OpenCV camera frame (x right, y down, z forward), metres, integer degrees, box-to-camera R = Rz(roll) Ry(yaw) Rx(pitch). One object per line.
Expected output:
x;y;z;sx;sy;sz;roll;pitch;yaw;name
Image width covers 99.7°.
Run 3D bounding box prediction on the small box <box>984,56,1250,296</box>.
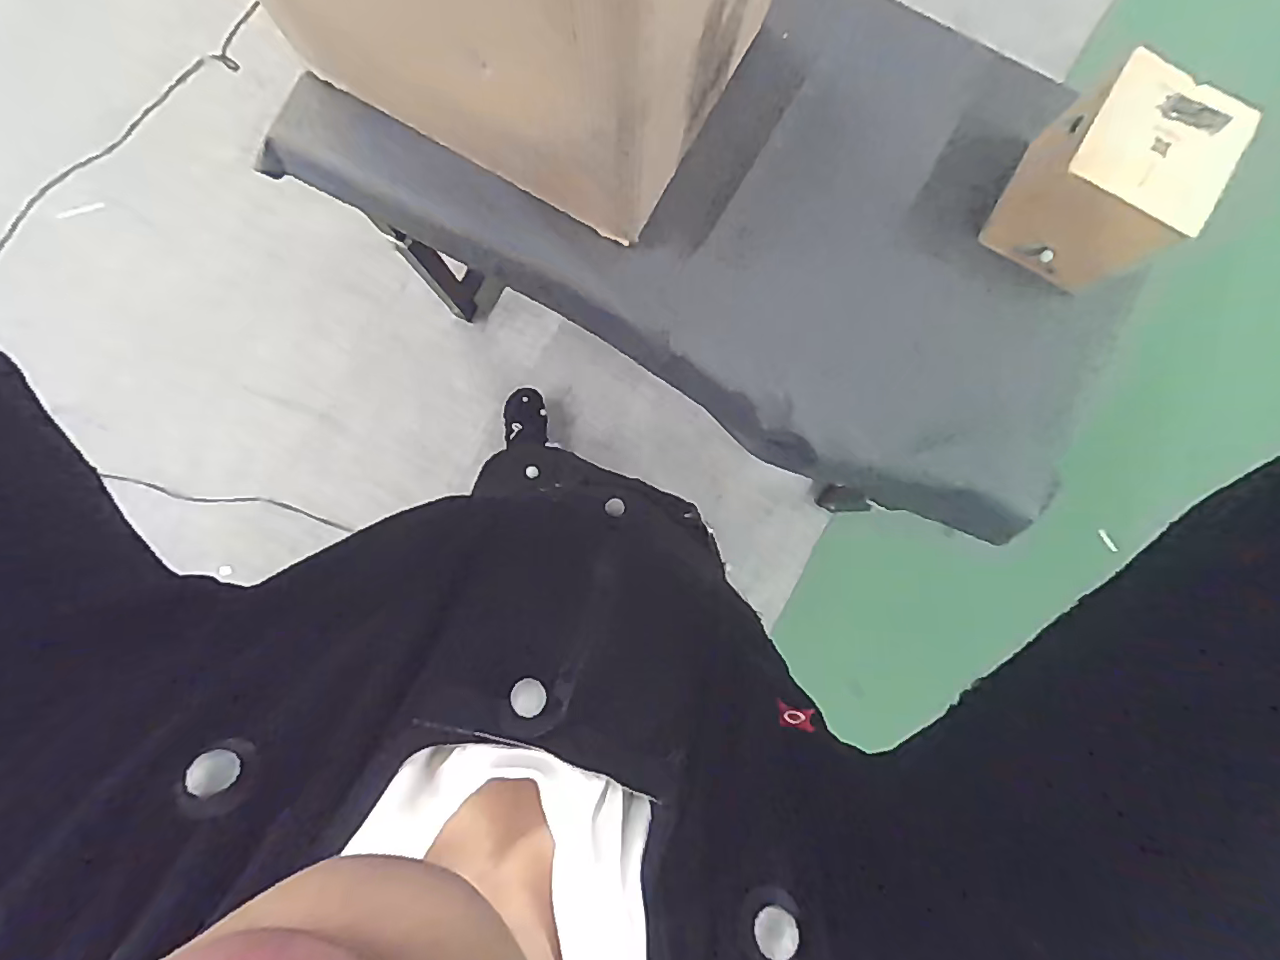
0.600;-0.380;0.707;0.168;0.176;0.179;31;87;2;small box
